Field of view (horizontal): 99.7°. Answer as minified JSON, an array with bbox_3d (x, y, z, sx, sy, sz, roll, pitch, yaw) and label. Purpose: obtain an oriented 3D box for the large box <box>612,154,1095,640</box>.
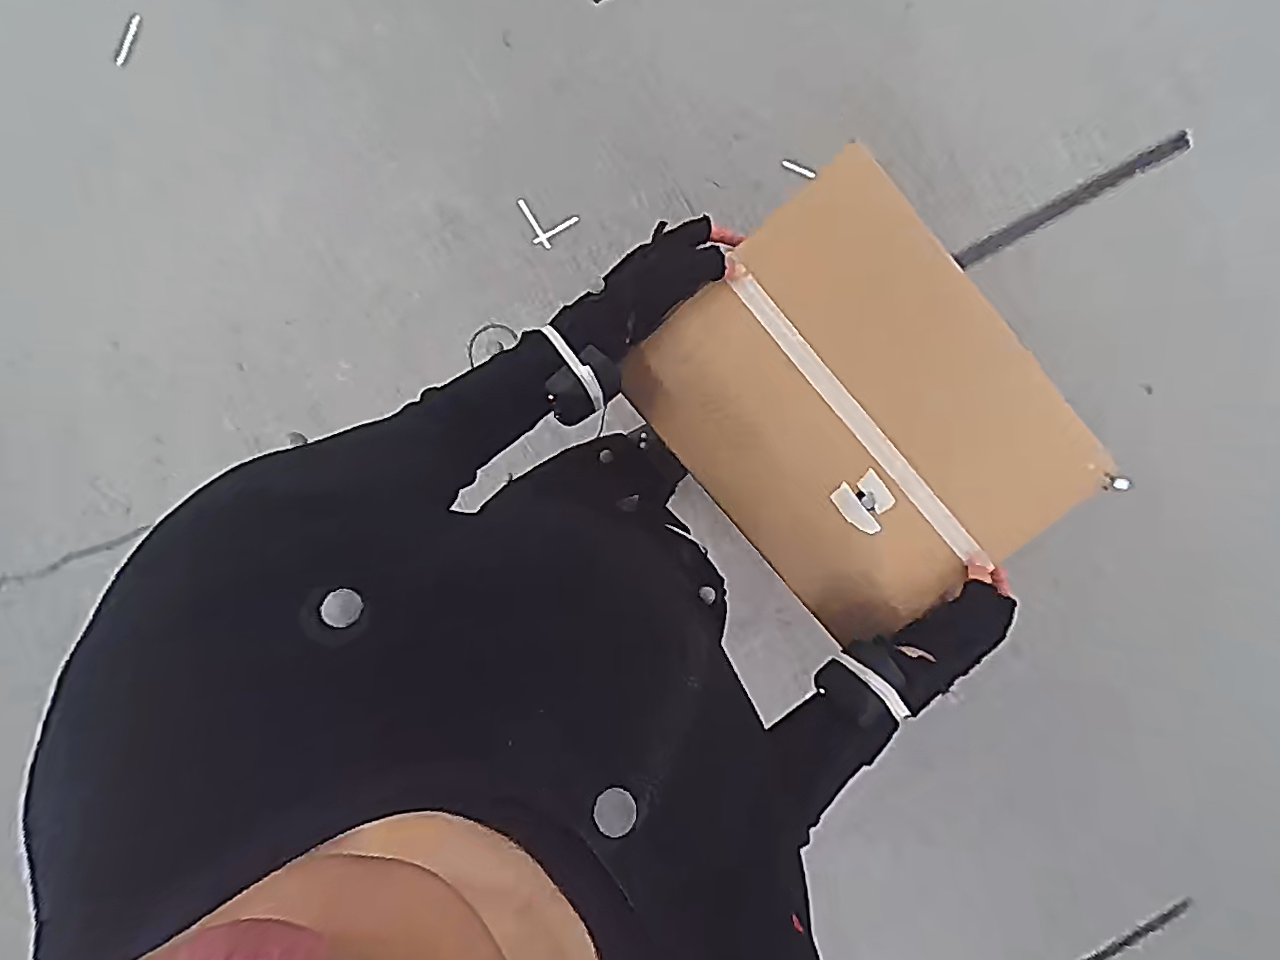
[{"bbox_3d":[0.220,-0.092,0.692,0.320,0.320,0.408,-41,95,10],"label":"large box"}]
